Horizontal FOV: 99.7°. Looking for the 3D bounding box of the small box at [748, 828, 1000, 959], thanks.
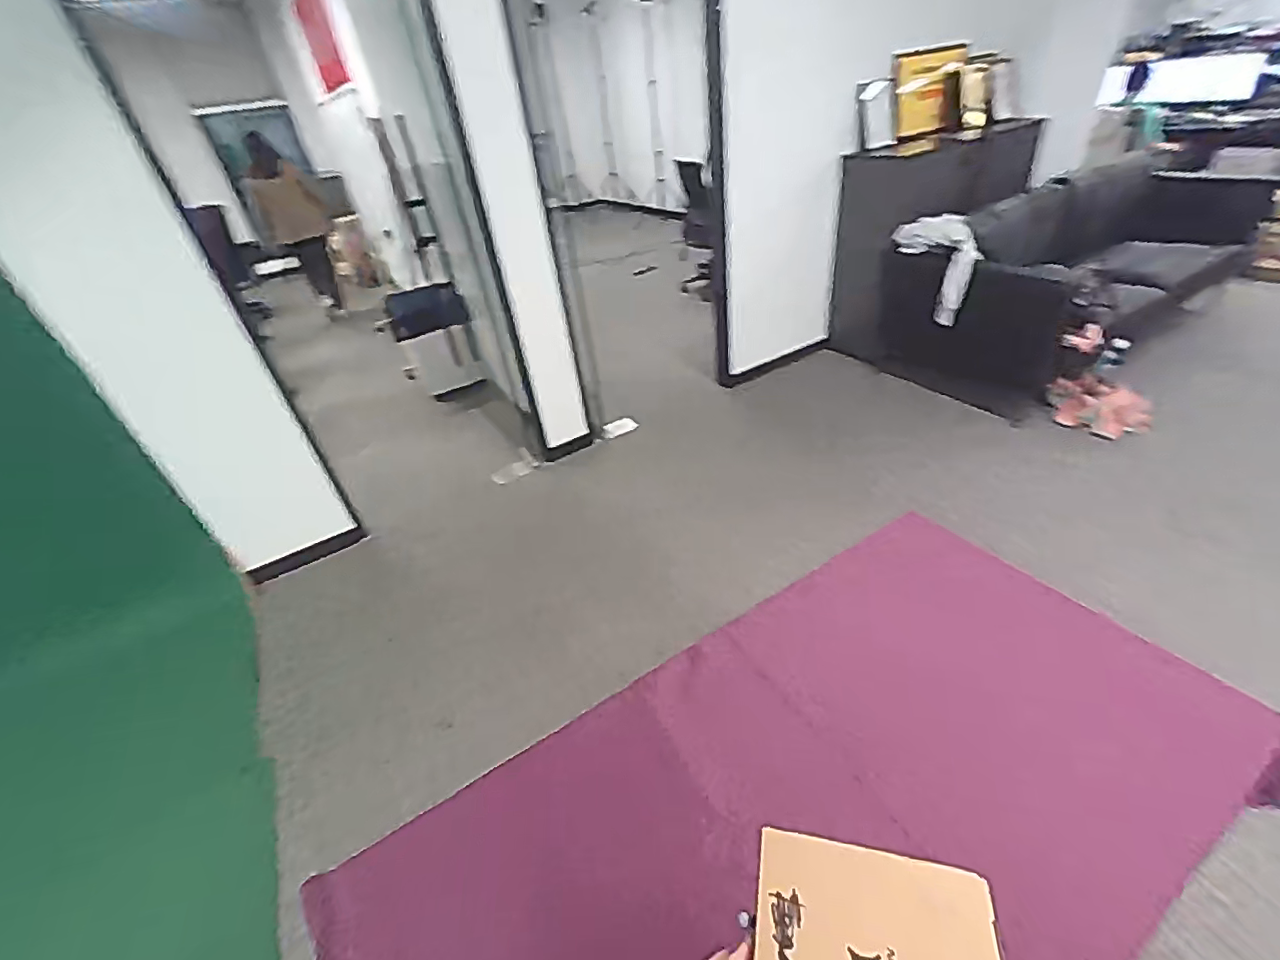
[{"bbox_3d":[0.176,0.423,0.436,0.179,0.176,0.168,5,39,16],"label":"small box"}]
